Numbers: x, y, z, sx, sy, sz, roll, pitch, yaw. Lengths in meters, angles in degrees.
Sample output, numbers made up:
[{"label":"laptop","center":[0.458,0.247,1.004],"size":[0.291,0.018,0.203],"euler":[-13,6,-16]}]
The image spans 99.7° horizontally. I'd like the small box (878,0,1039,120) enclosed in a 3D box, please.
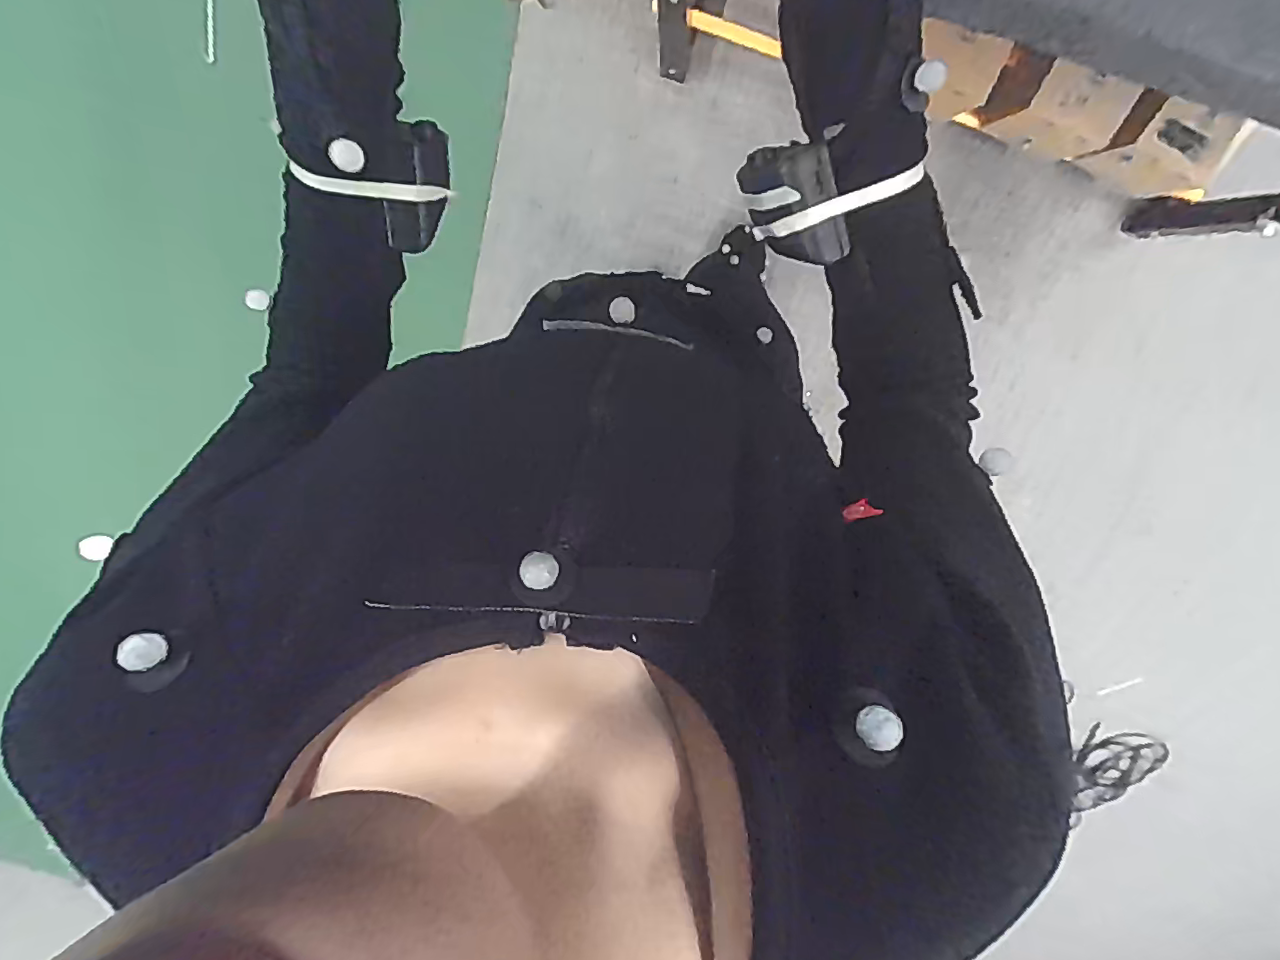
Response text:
[{"label":"small box","center":[0.565,-0.793,0.983],"size":[0.168,0.176,0.179],"euler":[18,114,-4]}]
